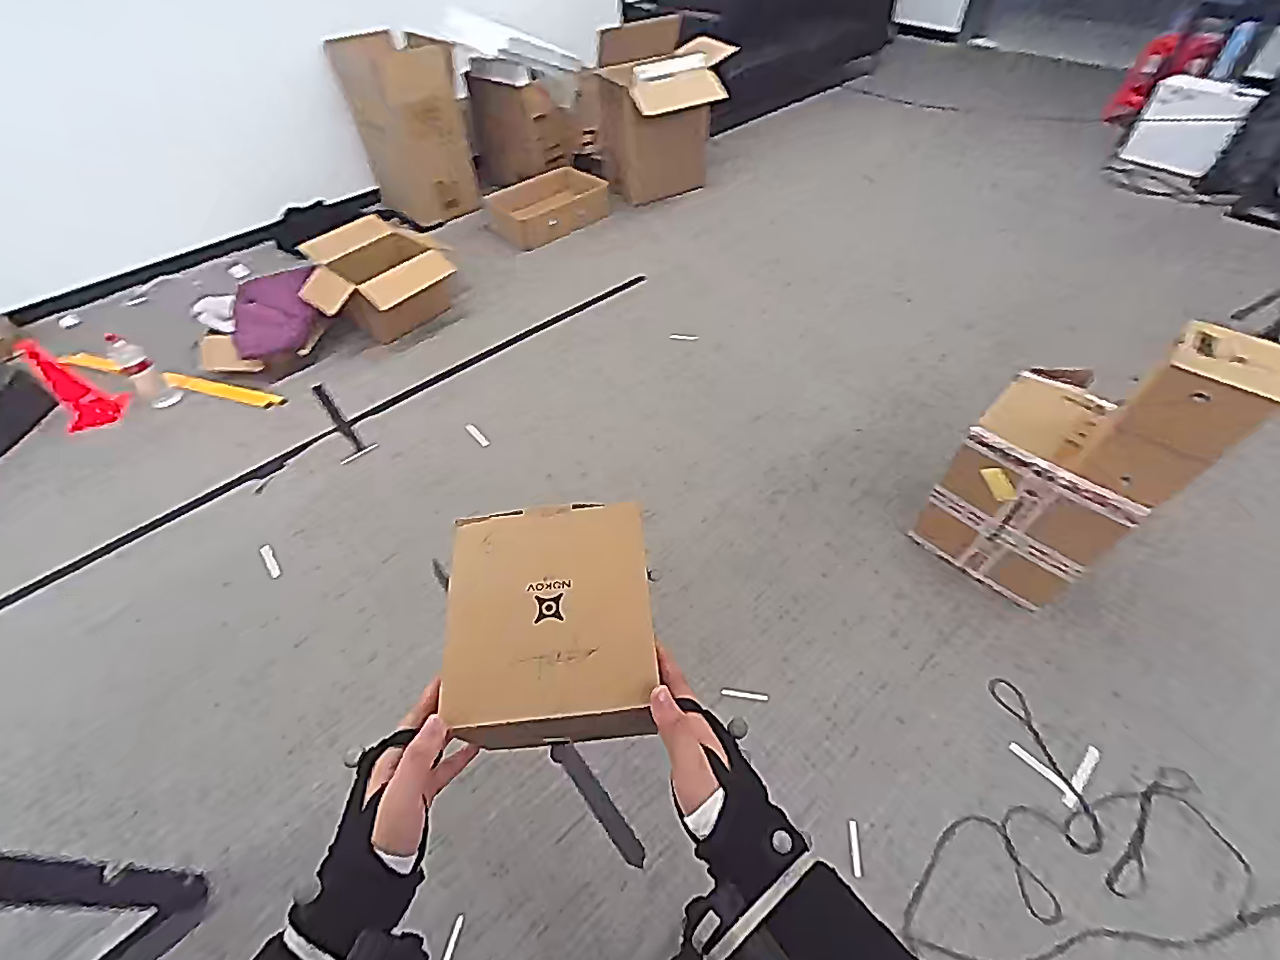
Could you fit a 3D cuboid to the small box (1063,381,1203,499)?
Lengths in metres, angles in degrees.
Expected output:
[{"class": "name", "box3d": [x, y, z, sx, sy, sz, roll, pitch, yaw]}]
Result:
[{"class": "small box", "box3d": [1.102, -0.082, 1.203, 0.179, 0.176, 0.168, 33, 63, 26]}]

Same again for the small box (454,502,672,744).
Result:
[{"class": "small box", "box3d": [-0.064, 0.141, 0.515, 0.168, 0.176, 0.179, -5, 59, -2]}]

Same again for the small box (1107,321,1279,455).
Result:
[{"class": "small box", "box3d": [1.084, -0.178, 1.069, 0.179, 0.176, 0.168, 33, 63, 26]}]
